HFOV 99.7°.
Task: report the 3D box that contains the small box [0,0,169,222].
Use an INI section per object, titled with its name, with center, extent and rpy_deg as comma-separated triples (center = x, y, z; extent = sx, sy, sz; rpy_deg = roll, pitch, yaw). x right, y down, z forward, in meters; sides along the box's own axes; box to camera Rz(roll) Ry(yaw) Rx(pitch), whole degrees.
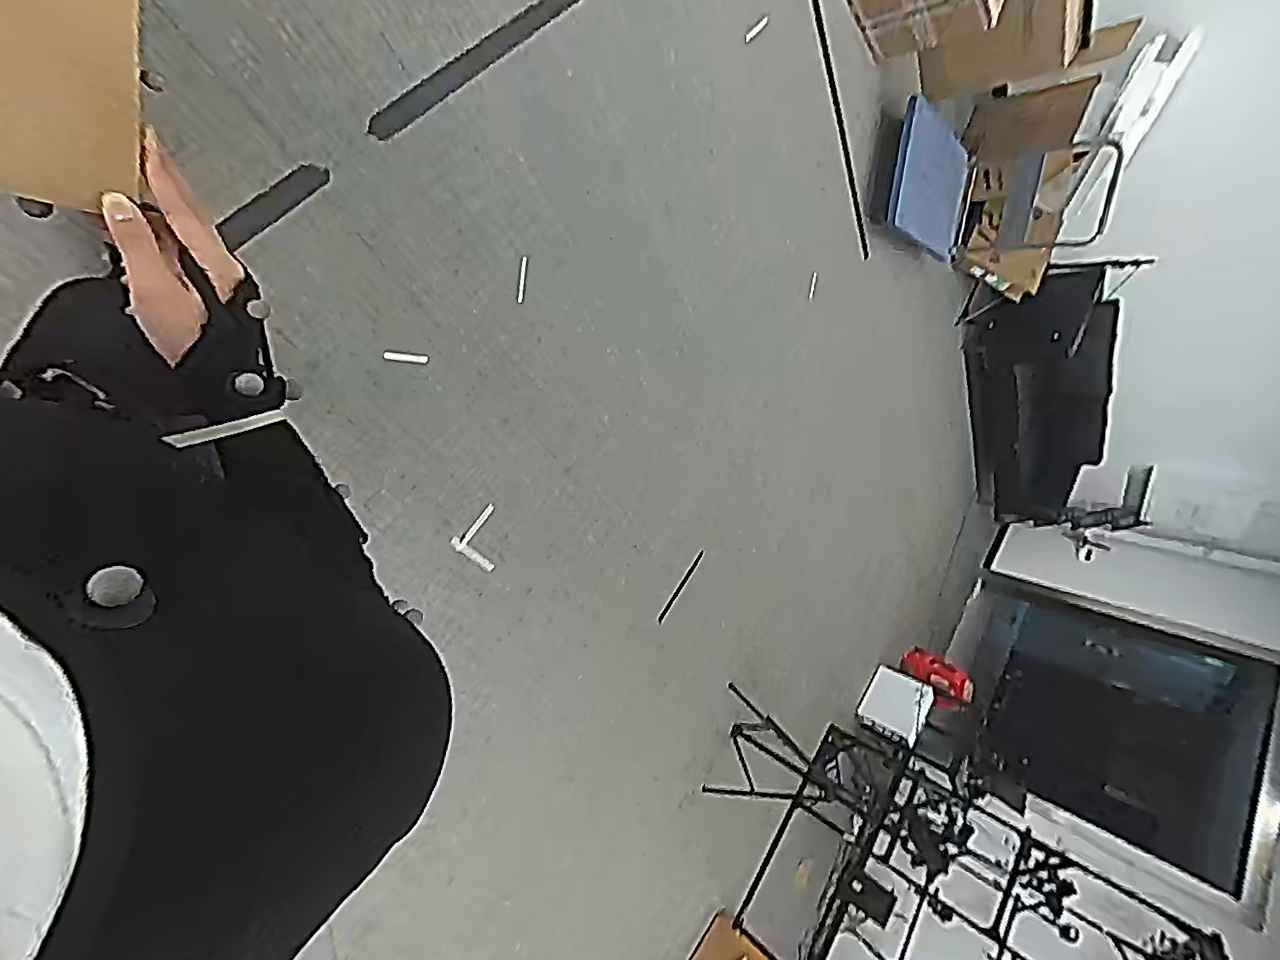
[small box]
center = -0.372, -0.264, 0.285
extent = 0.179, 0.176, 0.168
rpy_deg = 0, 121, -45
